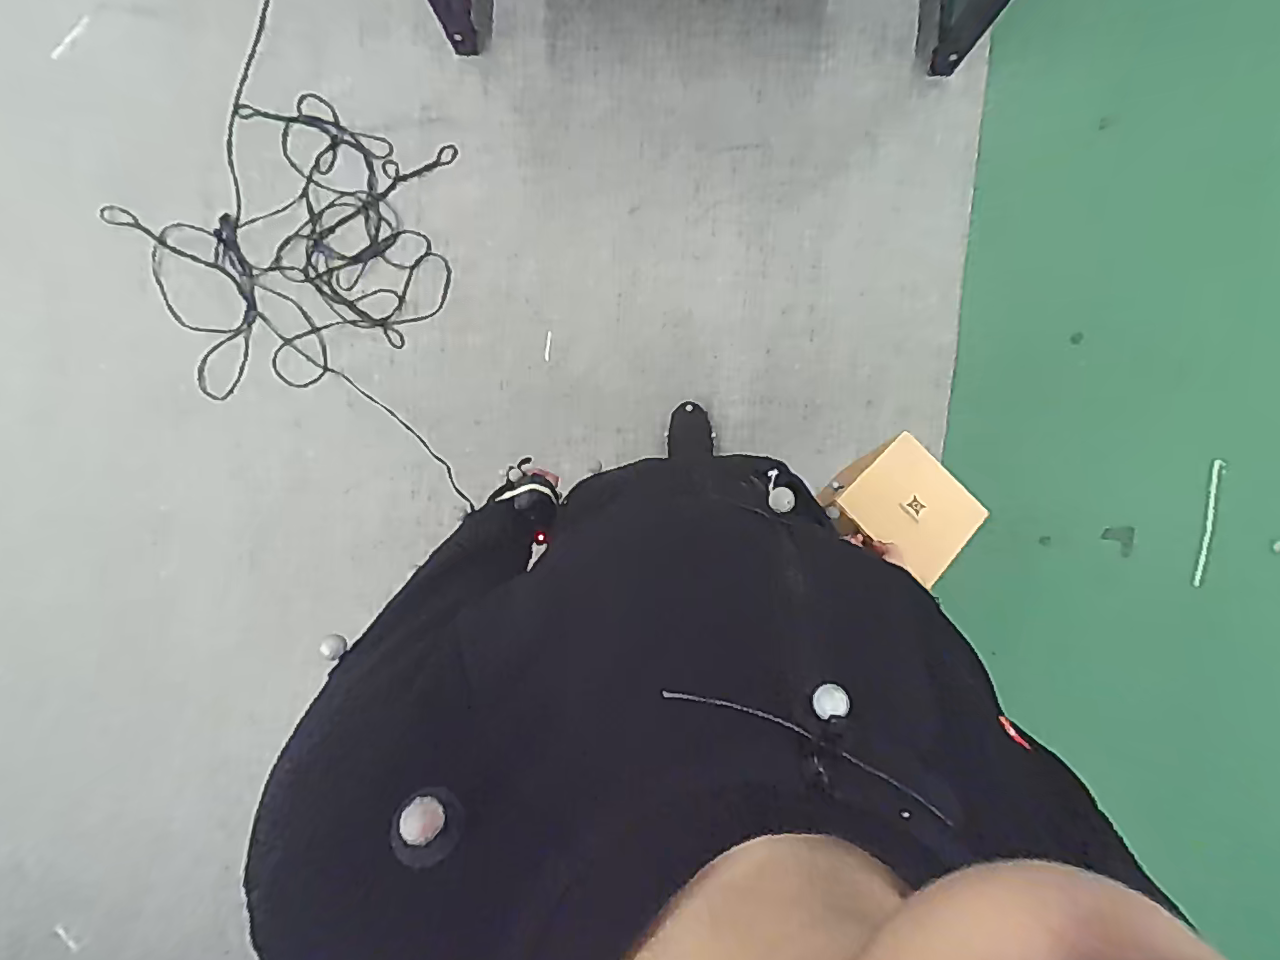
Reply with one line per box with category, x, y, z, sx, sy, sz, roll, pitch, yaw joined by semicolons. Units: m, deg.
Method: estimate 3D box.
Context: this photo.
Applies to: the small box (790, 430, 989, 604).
small box;0.359;0.062;0.807;0.179;0.176;0.168;-40;83;-22
